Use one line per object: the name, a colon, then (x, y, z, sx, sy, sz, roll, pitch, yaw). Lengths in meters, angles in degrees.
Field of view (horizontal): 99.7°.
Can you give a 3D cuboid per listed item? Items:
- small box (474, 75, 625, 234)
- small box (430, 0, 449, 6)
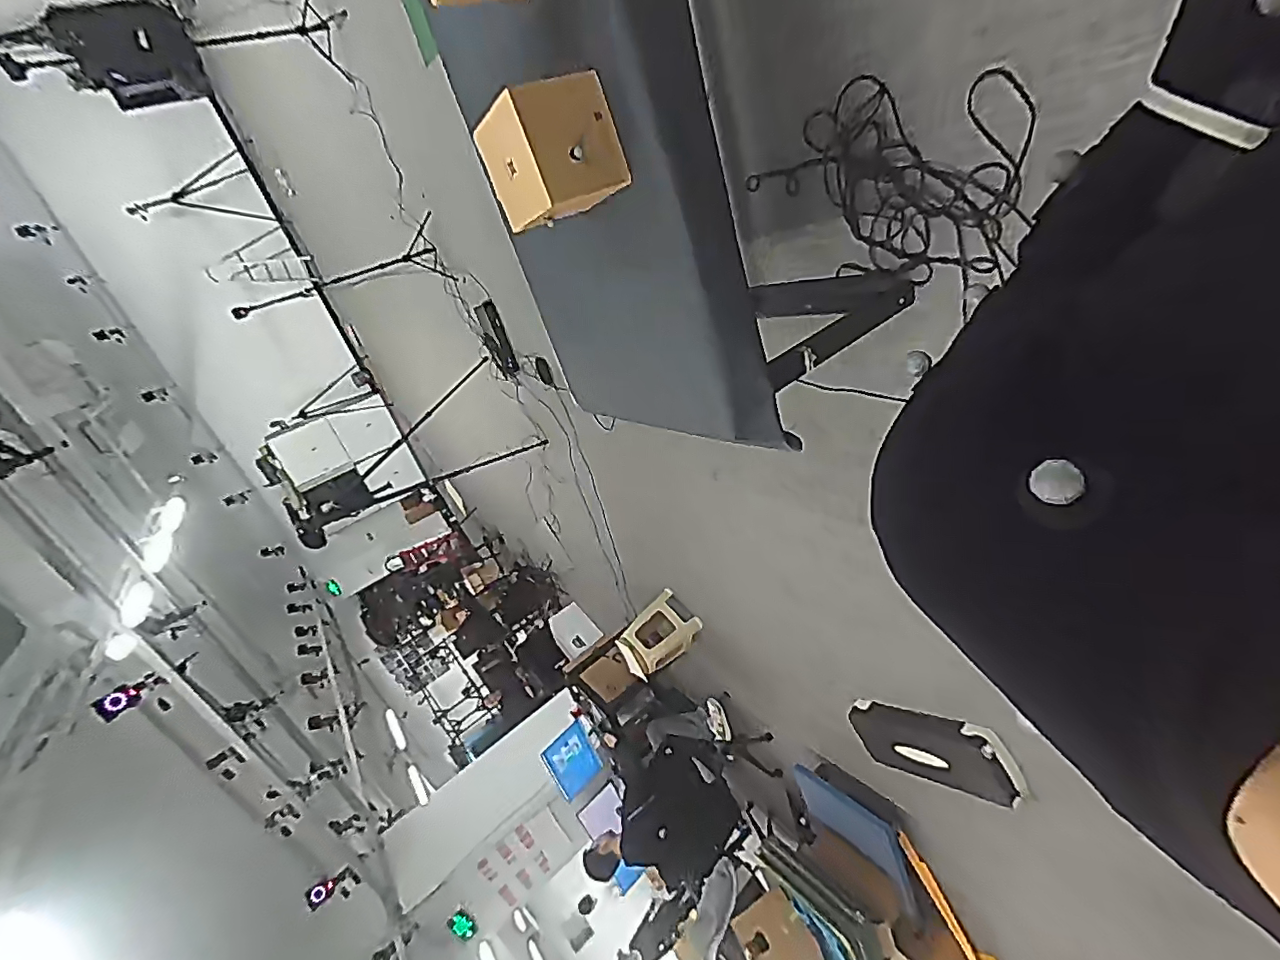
small box: (-0.145, -0.541, 0.907, 0.179, 0.176, 0.168, 13, 131, 56)
small box: (-0.233, -0.813, 0.751, 0.179, 0.176, 0.168, 10, 129, 56)
